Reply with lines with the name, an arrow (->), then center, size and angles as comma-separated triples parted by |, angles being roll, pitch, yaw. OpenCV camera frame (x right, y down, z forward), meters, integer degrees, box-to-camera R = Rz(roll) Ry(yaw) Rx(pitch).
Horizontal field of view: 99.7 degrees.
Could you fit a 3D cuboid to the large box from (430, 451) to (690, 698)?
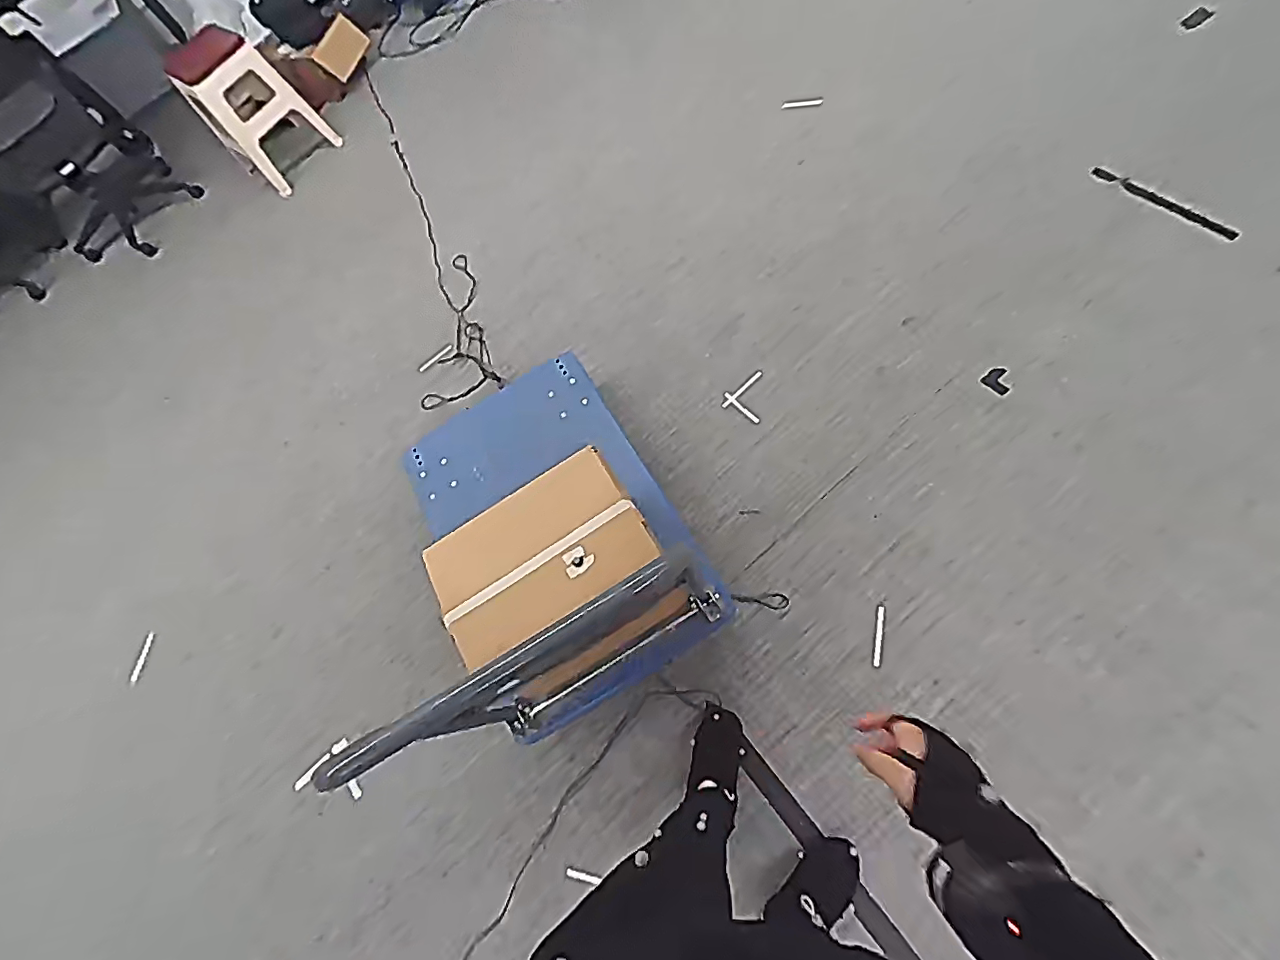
large box -> -0.154, 0.217, 1.157 | 0.408, 0.320, 0.320 | -33, 66, -2
